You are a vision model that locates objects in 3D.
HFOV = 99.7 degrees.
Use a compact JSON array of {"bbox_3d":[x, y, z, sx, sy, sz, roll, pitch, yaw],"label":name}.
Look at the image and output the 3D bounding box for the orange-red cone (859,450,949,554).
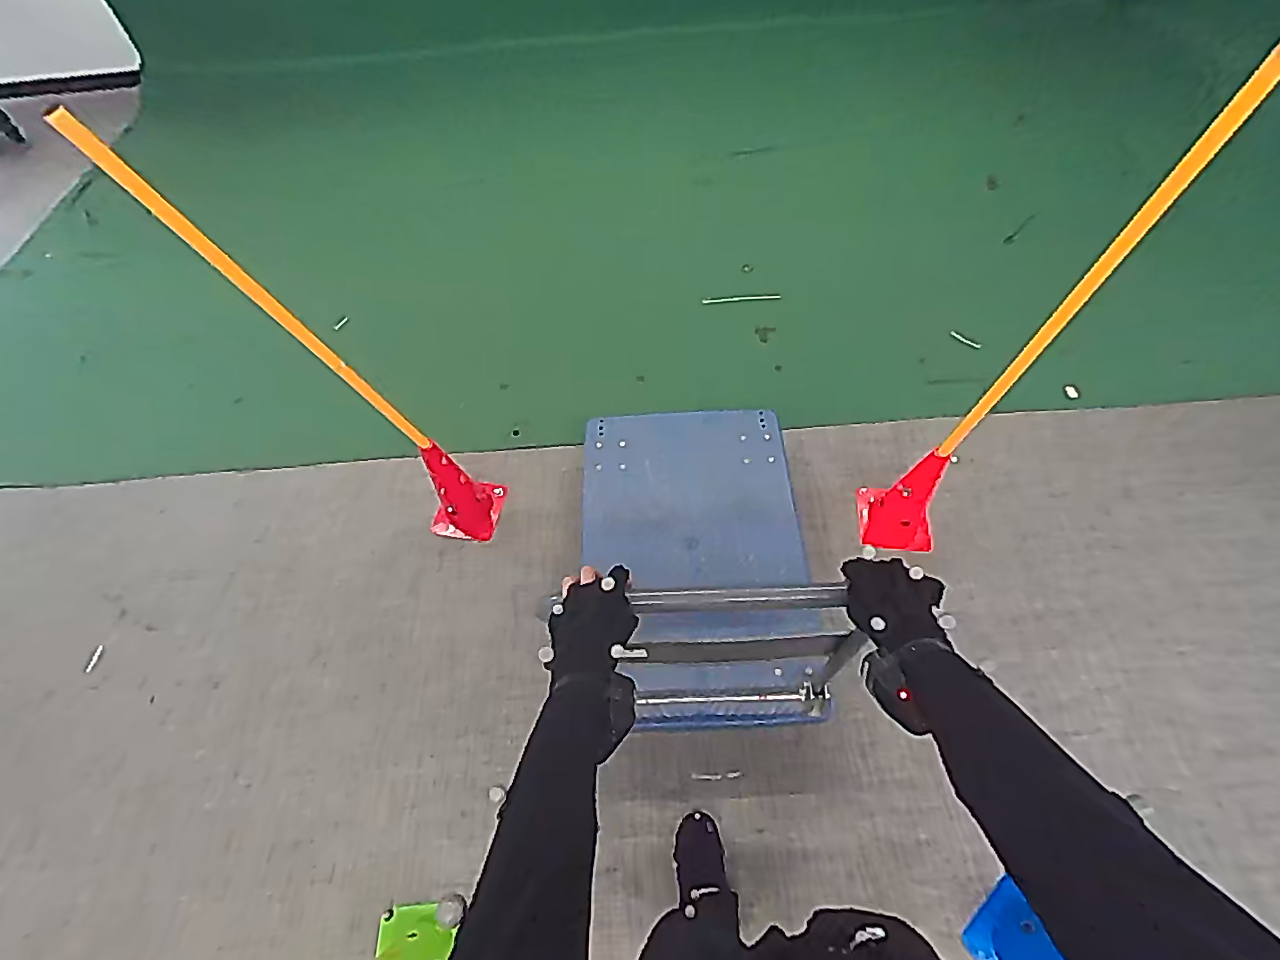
[{"bbox_3d":[0.745,0.035,1.461,0.198,0.360,0.199,5,59,8],"label":"orange-red cone"}]
